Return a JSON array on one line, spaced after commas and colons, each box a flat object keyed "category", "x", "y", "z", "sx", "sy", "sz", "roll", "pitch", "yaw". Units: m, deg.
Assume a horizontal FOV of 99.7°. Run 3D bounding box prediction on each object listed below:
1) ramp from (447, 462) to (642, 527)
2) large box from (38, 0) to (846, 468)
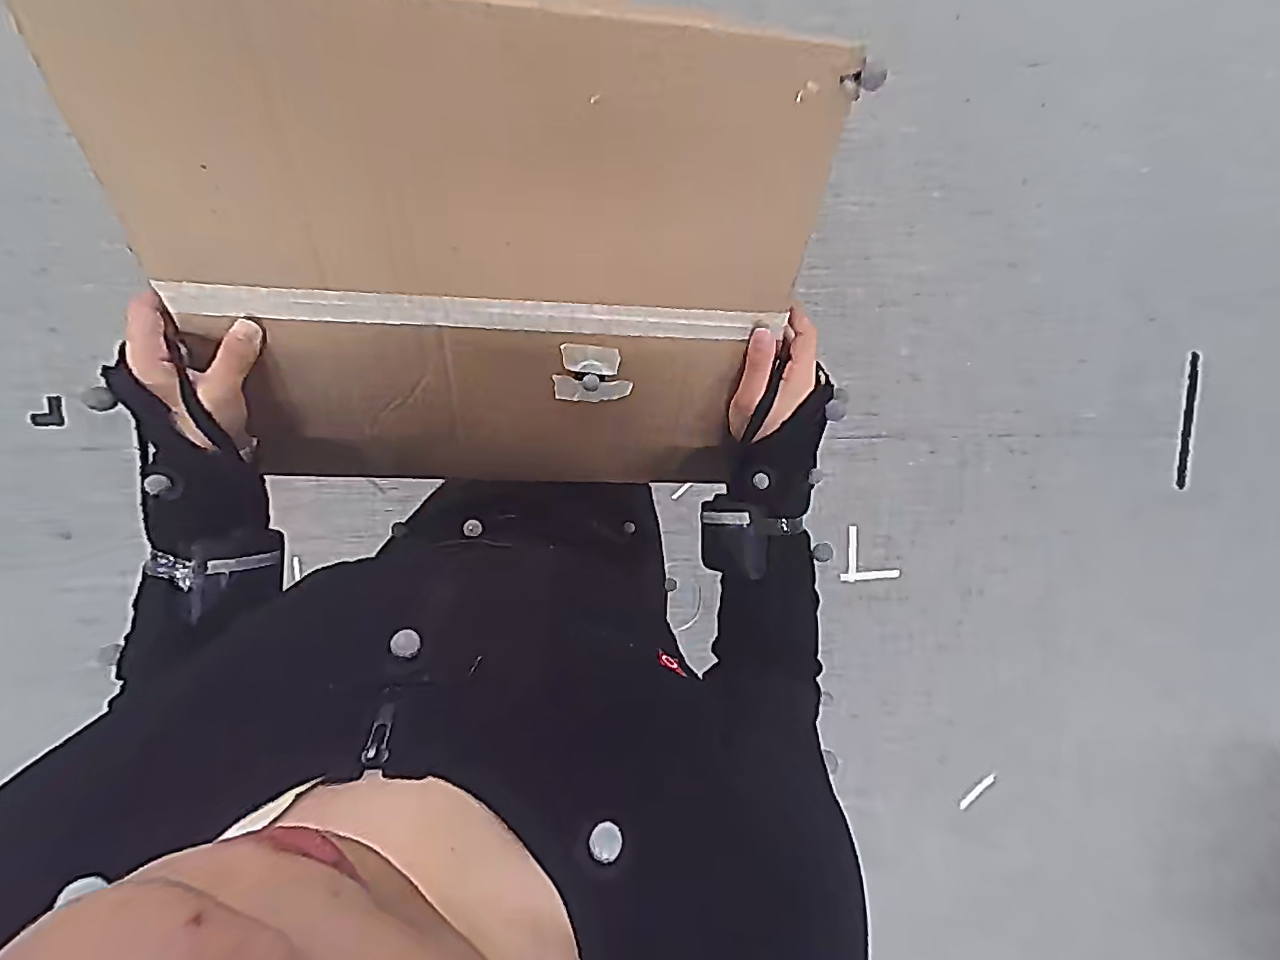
[{"category": "ramp", "x": -0.231, "y": -0.356, "z": 1.259, "sx": 0.509, "sy": 0.206, "sz": 0.991, "roll": -3, "pitch": 99, "yaw": -7}, {"category": "large box", "x": -0.110, "y": -0.227, "z": 0.478, "sx": 0.408, "sy": 0.320, "sz": 0.320, "roll": -1, "pitch": 135, "yaw": -7}]
